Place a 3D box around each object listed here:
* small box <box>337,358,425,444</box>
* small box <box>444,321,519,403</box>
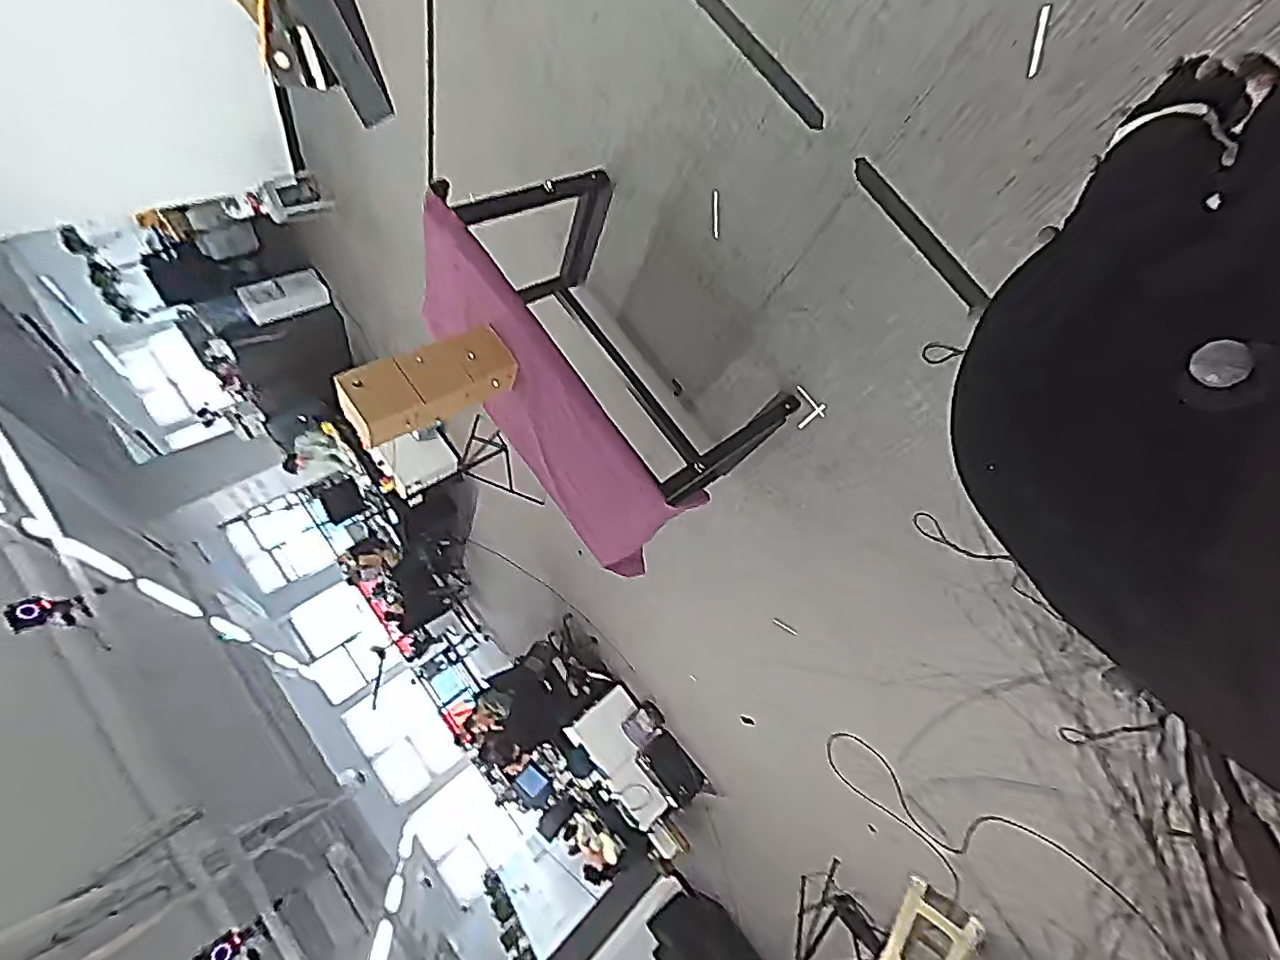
[{"bbox_3d":[-0.762,-0.240,1.600,0.179,0.176,0.168,53,150,6],"label":"small box"},{"bbox_3d":[-0.518,-0.387,1.767,0.179,0.176,0.168,54,149,6],"label":"small box"}]
